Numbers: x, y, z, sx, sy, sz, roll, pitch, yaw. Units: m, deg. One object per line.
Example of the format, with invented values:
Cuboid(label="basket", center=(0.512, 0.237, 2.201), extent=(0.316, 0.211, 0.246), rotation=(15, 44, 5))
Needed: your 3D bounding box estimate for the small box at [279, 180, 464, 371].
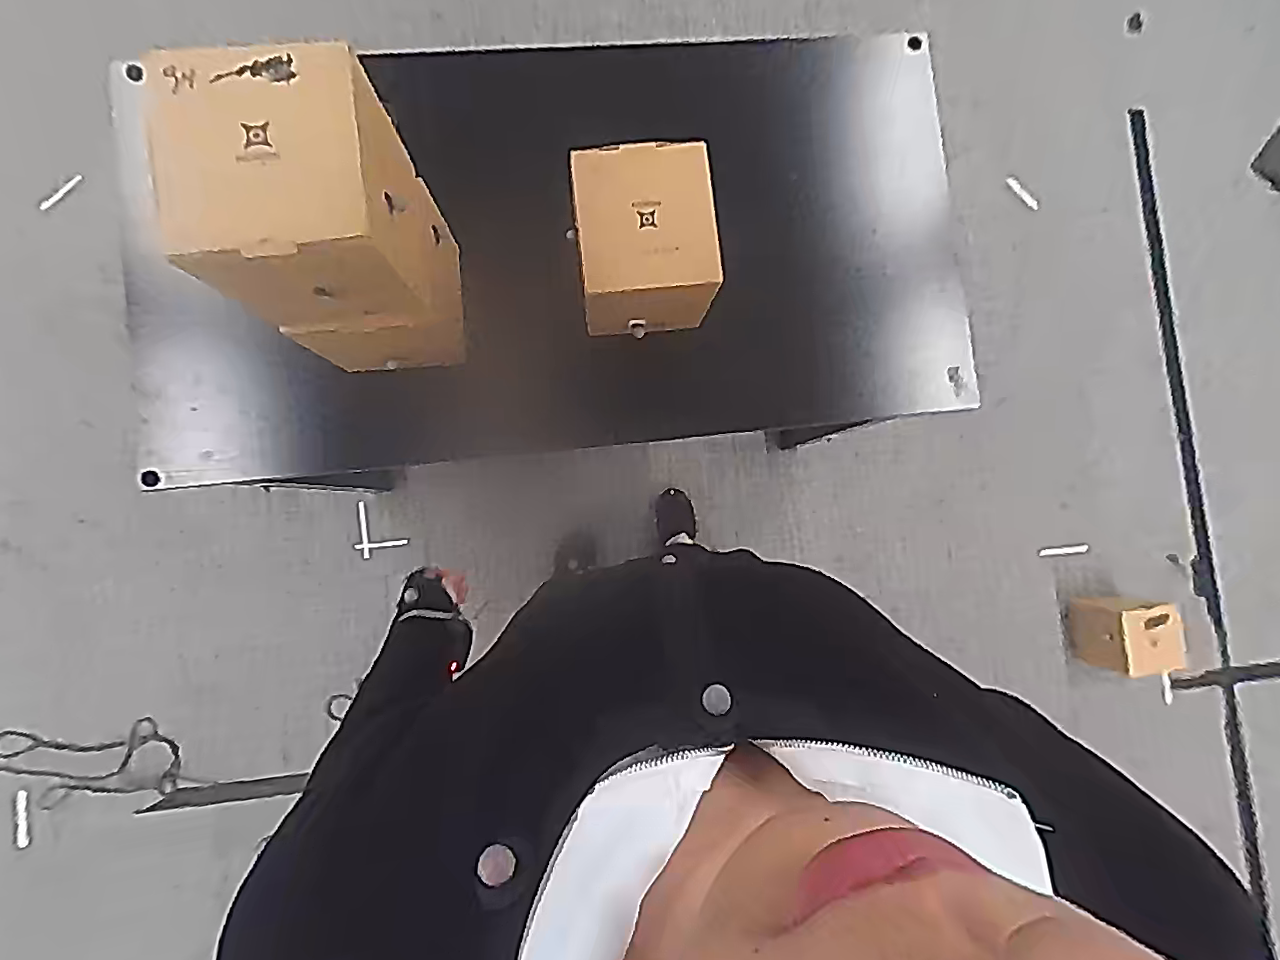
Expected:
Cuboid(label="small box", center=(-0.331, -0.250, 0.692), extent=(0.168, 0.176, 0.179), rotation=(-5, 87, -4))

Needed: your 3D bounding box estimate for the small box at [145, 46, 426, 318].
Cuboid(label="small box", center=(-0.323, -0.269, 0.529), extent=(0.168, 0.176, 0.179), rotation=(-7, 88, -5))

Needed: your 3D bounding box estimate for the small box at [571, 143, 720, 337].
Cuboid(label="small box", center=(0.001, -0.308, 0.722), extent=(0.168, 0.176, 0.179), rotation=(-7, 88, -3))

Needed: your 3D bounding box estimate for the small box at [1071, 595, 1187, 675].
Cuboid(label="small box", center=(1.350, 0.422, 1.506), extent=(0.168, 0.176, 0.179), rotation=(-7, 88, -4))
